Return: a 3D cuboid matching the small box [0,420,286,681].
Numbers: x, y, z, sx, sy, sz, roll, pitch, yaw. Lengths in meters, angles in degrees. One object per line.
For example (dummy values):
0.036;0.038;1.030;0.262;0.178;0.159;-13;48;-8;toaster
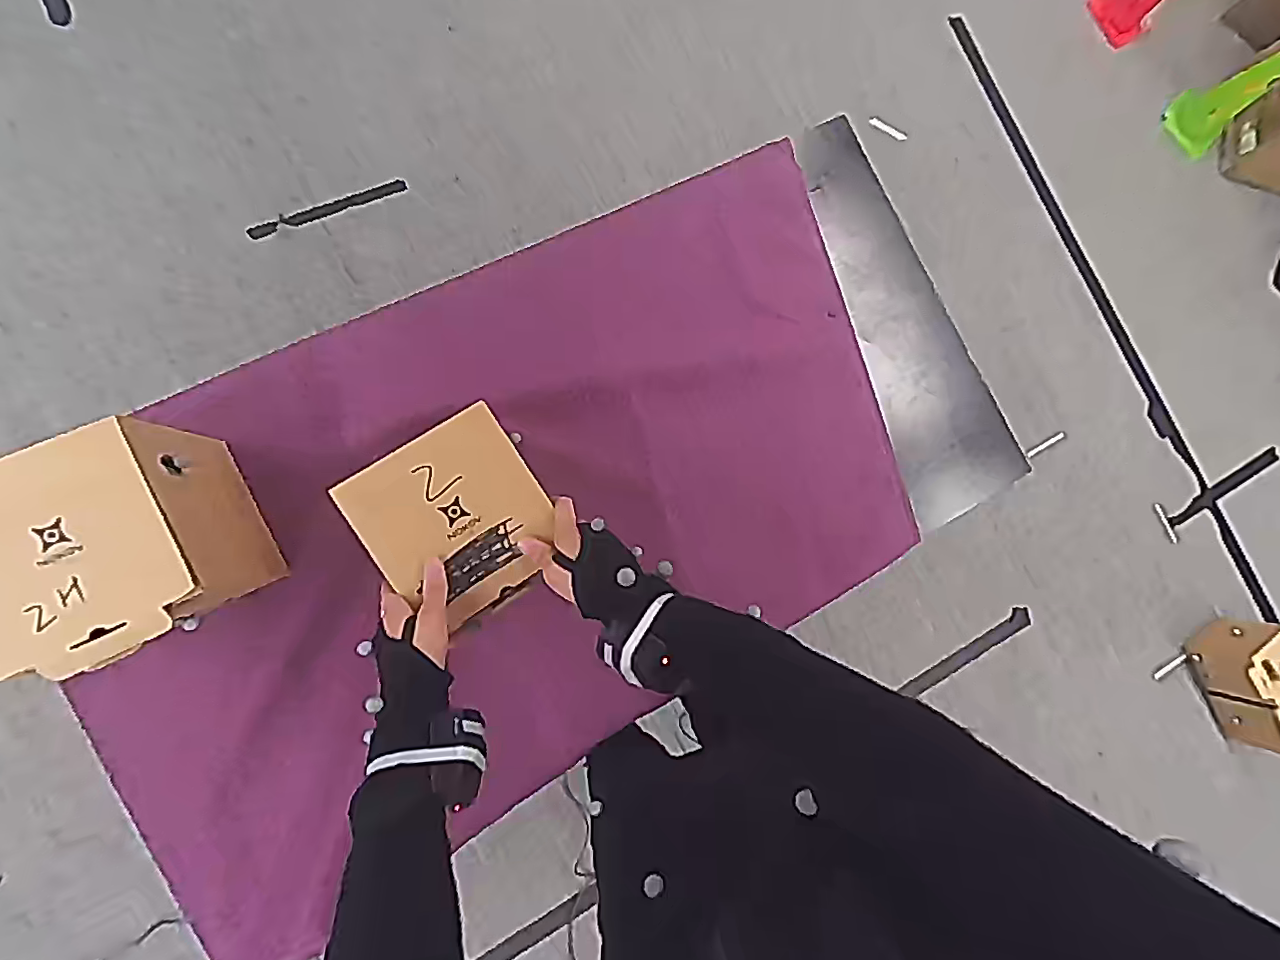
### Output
-0.502;0.064;0.538;0.168;0.176;0.179;-26;91;-11;small box
